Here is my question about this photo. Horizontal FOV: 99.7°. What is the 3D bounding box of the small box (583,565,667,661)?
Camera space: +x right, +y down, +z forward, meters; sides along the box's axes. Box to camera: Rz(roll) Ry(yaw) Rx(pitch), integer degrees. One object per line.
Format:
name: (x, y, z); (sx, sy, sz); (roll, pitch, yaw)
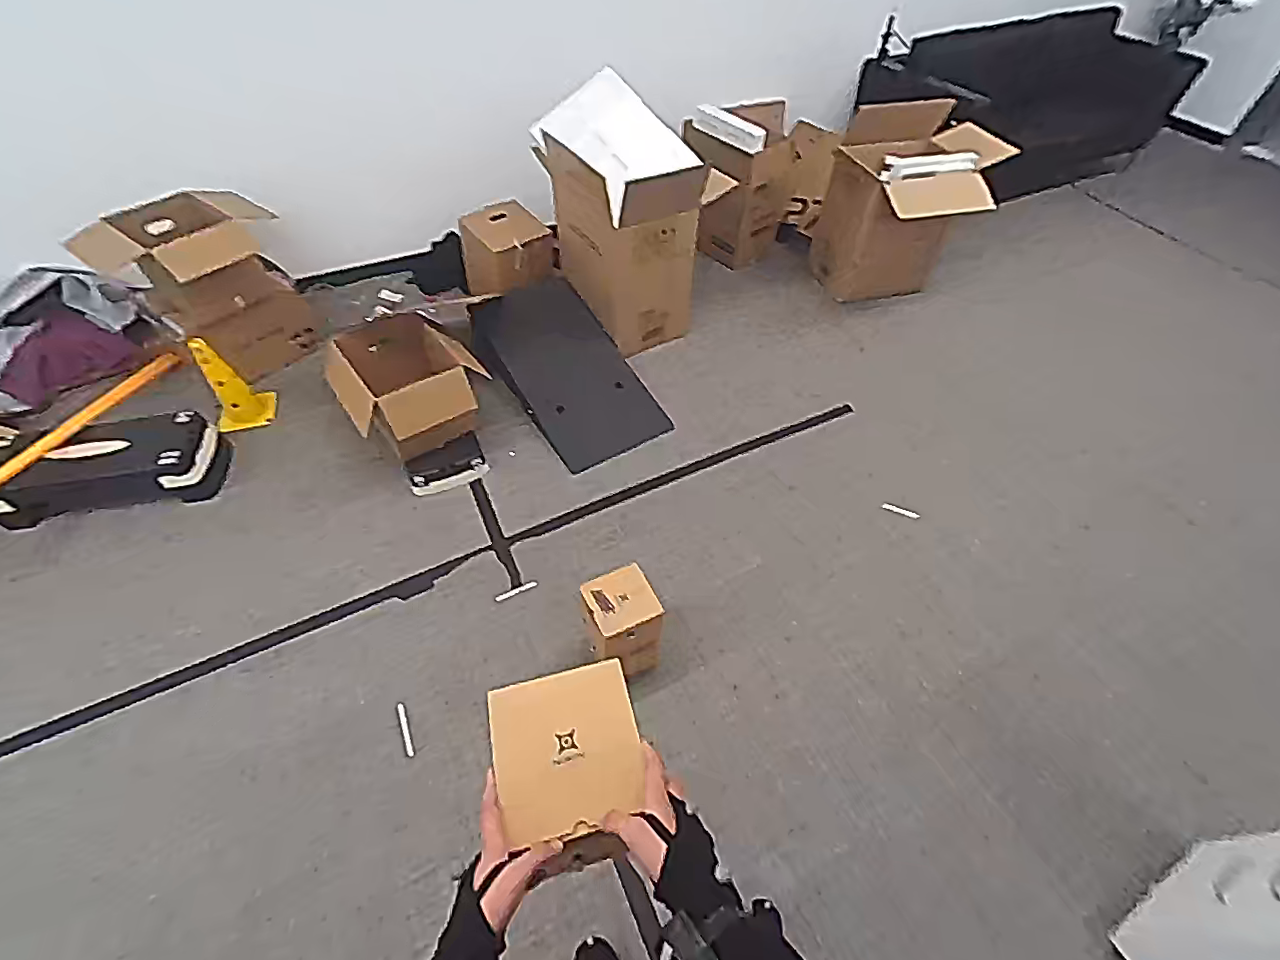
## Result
small box: (-0.042, 0.365, 1.465); (0.179, 0.176, 0.168); (-20, 54, -19)

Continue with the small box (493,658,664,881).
small box: (-0.077, 0.351, 0.659); (0.168, 0.176, 0.179); (-11, 48, -11)
